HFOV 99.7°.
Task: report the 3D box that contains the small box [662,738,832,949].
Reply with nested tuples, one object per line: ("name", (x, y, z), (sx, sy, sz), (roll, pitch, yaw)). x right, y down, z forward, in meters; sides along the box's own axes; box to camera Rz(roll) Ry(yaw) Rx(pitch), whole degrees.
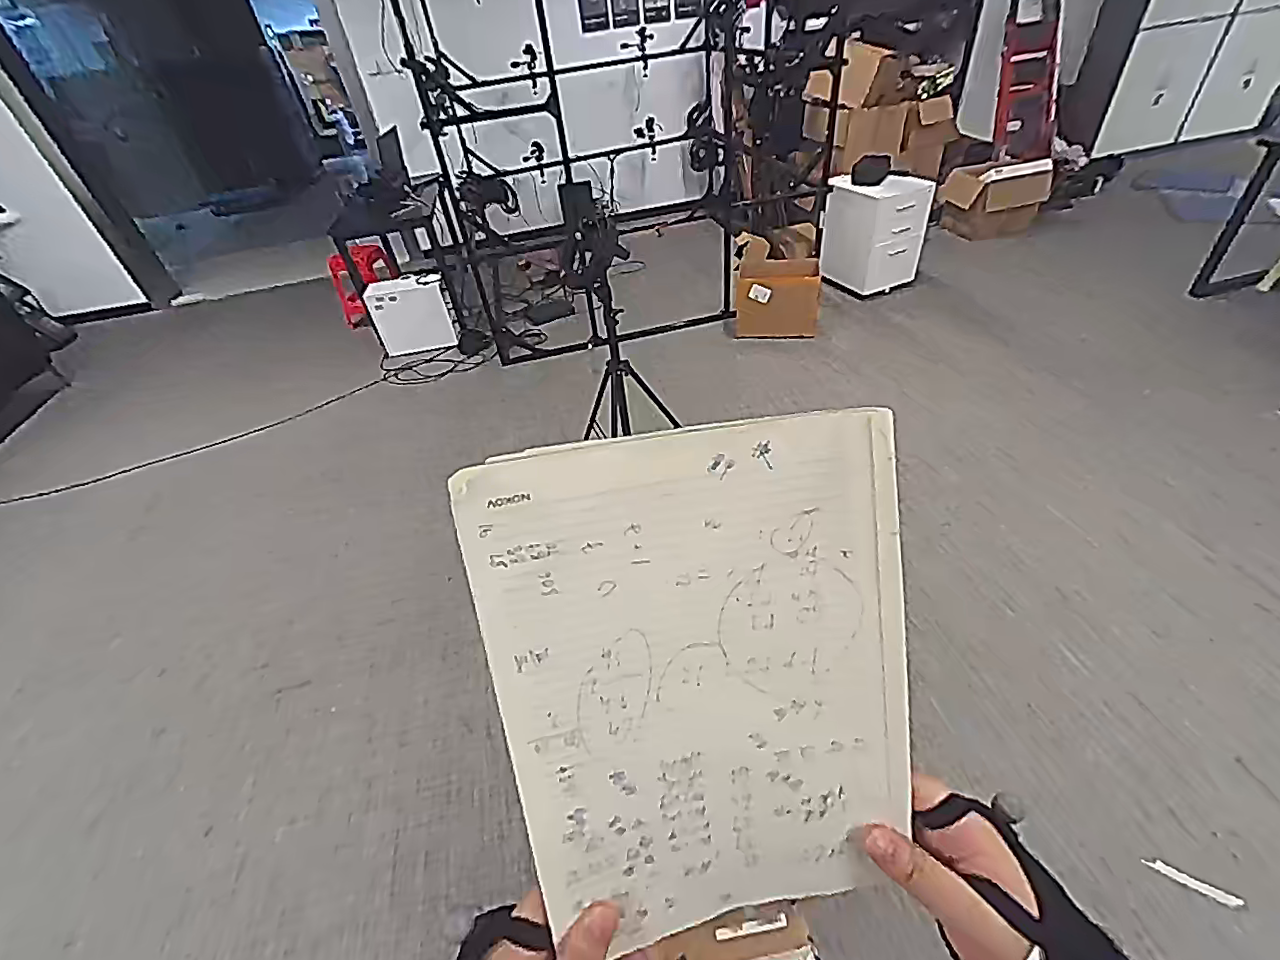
("small box", (0.118, 0.459, 0.685), (0.168, 0.176, 0.179), (-7, 43, -3))

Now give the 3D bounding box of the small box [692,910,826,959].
("small box", (0.147, 0.576, 0.798), (0.179, 0.176, 0.168), (-10, 42, -5))
